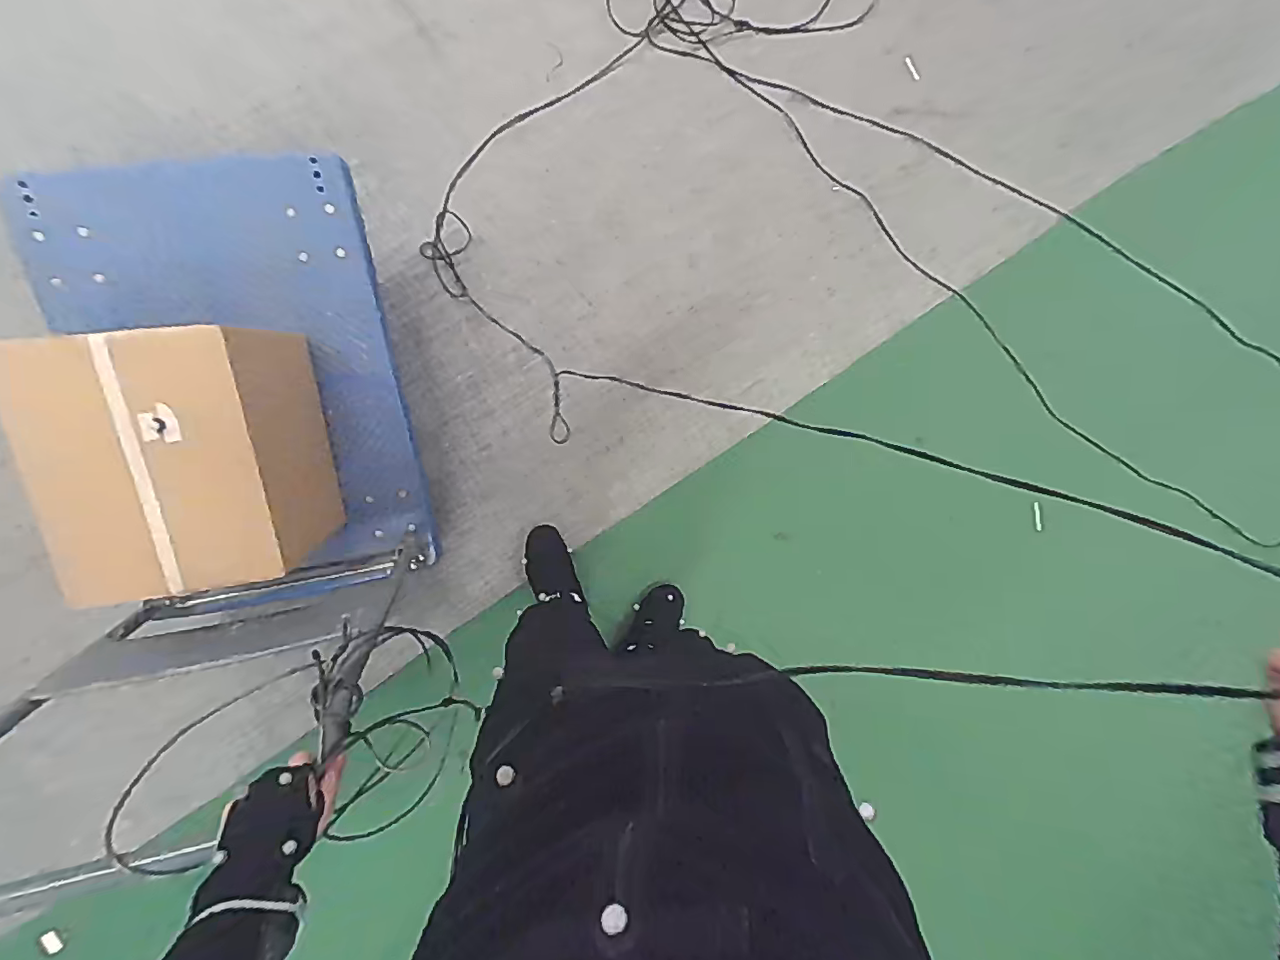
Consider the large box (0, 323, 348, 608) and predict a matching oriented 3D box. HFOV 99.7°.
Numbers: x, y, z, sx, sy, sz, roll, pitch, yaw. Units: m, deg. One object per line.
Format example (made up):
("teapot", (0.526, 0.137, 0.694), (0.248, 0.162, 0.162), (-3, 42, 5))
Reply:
("large box", (-0.764, -0.043, 0.948), (0.320, 0.320, 0.408), (-8, 103, -10))
